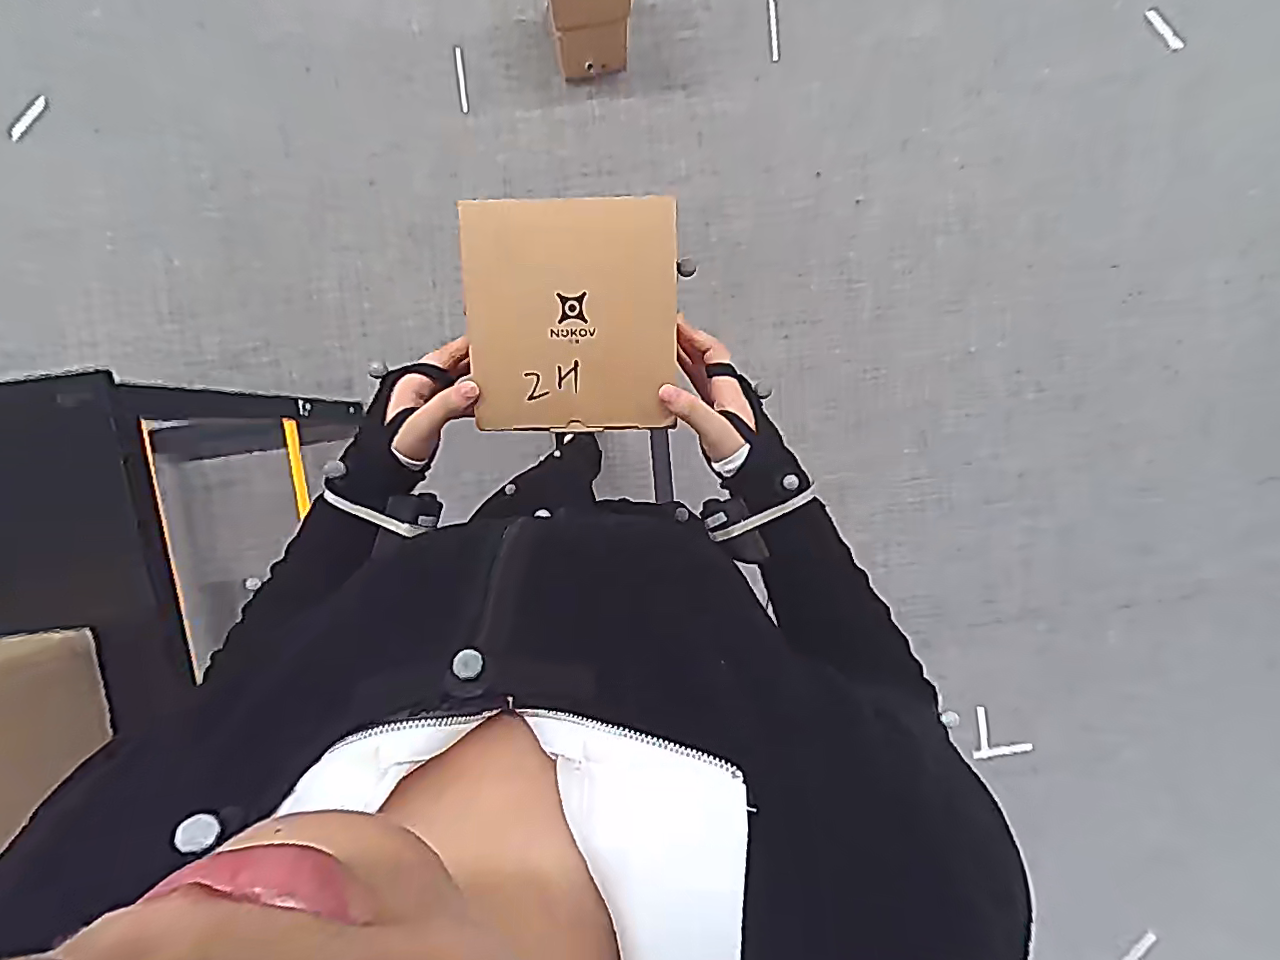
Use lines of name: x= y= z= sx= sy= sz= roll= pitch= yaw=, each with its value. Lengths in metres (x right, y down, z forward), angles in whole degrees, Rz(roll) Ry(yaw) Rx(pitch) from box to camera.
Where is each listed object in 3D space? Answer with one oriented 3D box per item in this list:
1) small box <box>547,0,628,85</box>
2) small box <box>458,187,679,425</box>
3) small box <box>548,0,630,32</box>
small box: x=-0.127 y=-1.092 z=1.283 sx=0.168 sy=0.176 sz=0.179 roll=-13 pitch=97 yaw=1
small box: x=-0.053 y=-0.146 z=0.493 sx=0.168 sy=0.176 sz=0.179 roll=0 pitch=103 yaw=1
small box: x=-0.119 y=-1.079 z=1.119 sx=0.179 sy=0.176 sz=0.168 roll=-11 pitch=96 yaw=0
